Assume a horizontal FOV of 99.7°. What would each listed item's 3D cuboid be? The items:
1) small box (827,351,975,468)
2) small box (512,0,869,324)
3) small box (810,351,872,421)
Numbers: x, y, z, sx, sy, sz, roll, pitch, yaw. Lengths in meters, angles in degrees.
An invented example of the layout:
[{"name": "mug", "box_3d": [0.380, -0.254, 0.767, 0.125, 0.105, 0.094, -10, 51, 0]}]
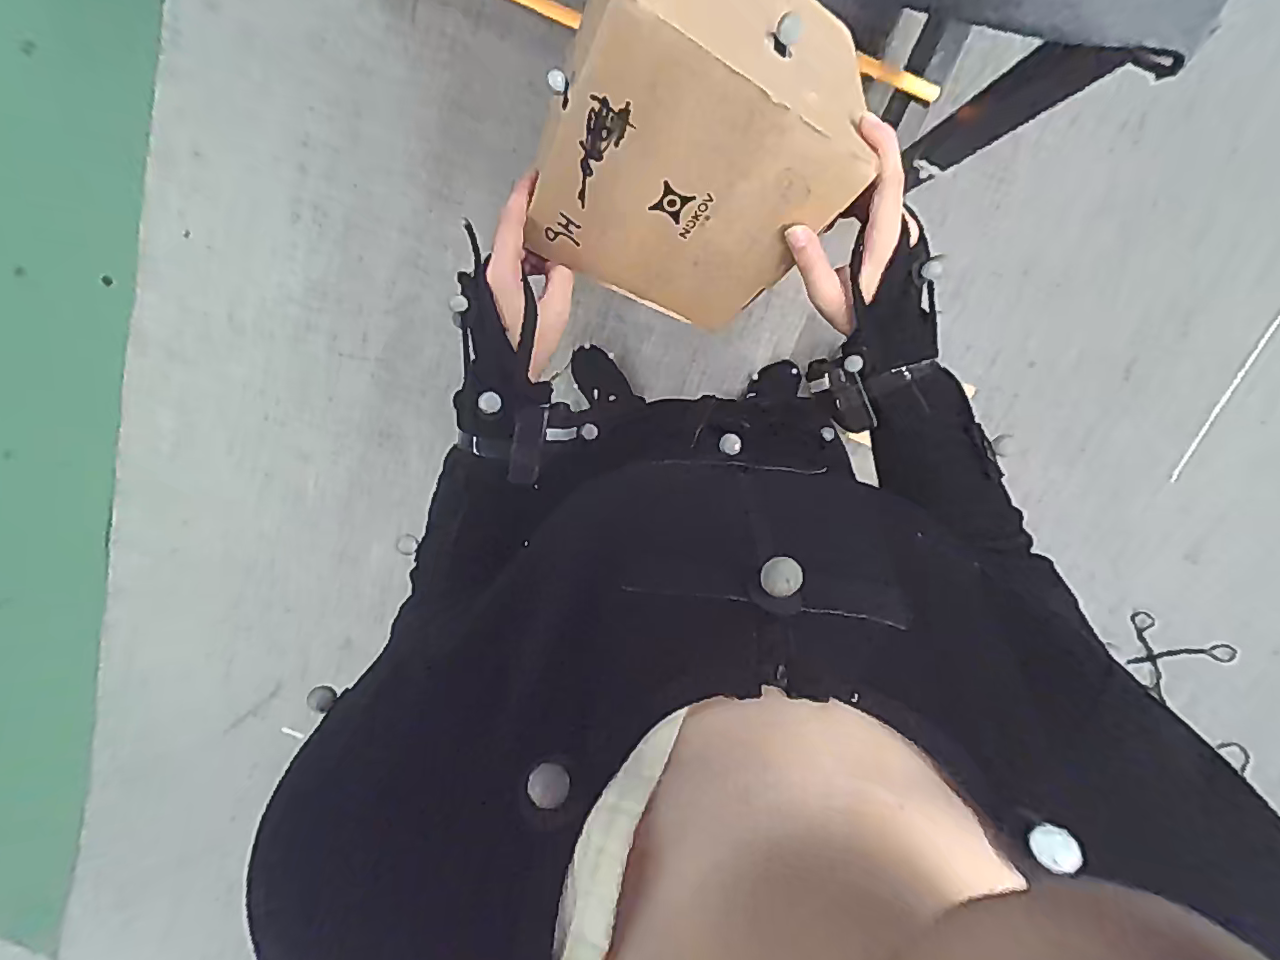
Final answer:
[{"name": "small box", "box_3d": [0.491, -0.143, 1.052, 0.179, 0.176, 0.168, 20, 105, -3]}, {"name": "small box", "box_3d": [0.028, -0.250, 0.381, 0.179, 0.176, 0.168, 16, 150, -23]}, {"name": "small box", "box_3d": [0.512, -0.184, 1.209, 0.179, 0.176, 0.168, 22, 104, -4]}]
